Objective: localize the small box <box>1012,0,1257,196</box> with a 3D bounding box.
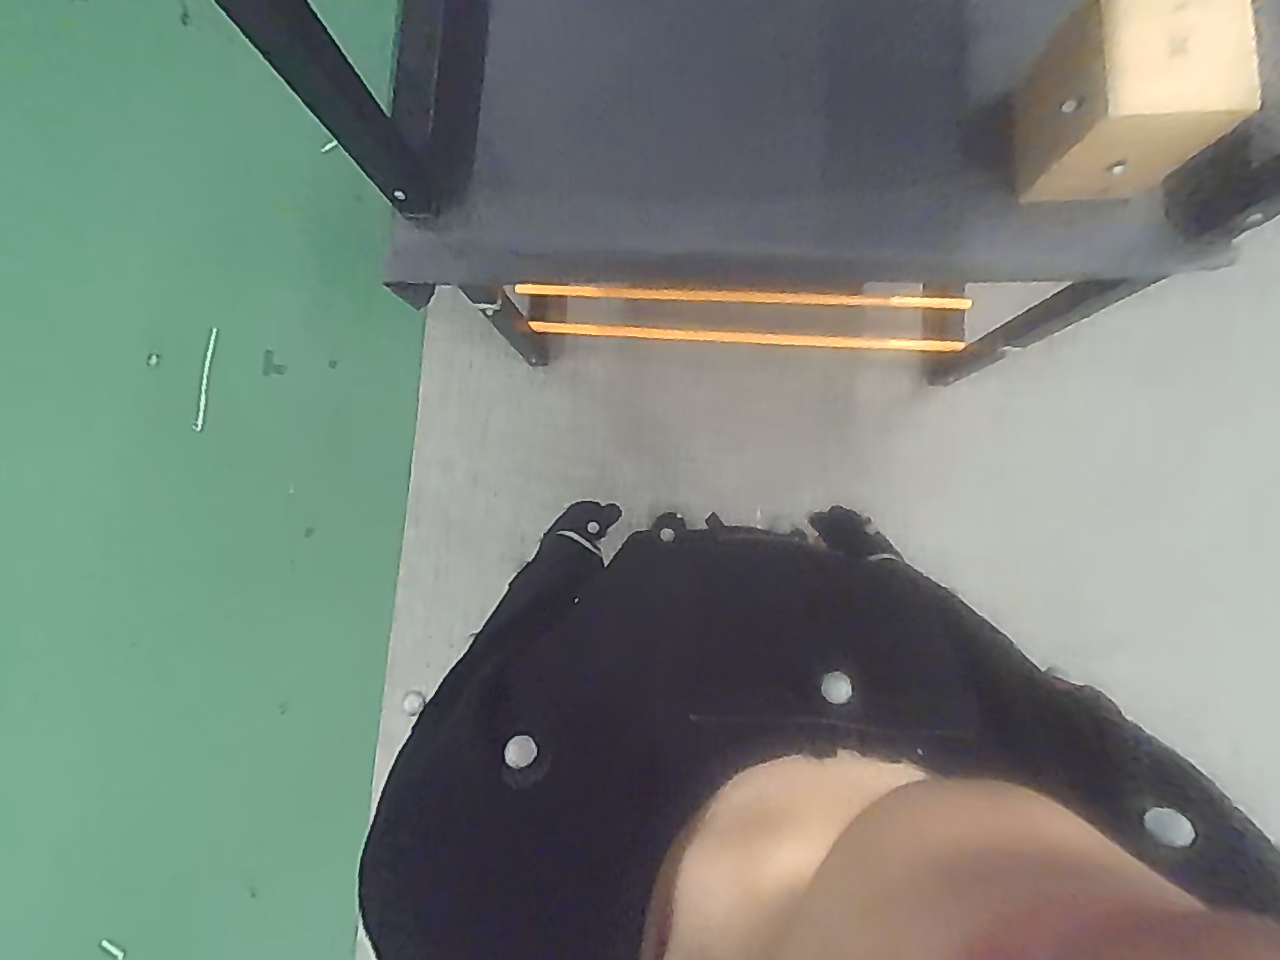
[{"bbox_3d":[0.619,-0.493,0.702,0.168,0.176,0.179,0,84,3],"label":"small box"}]
